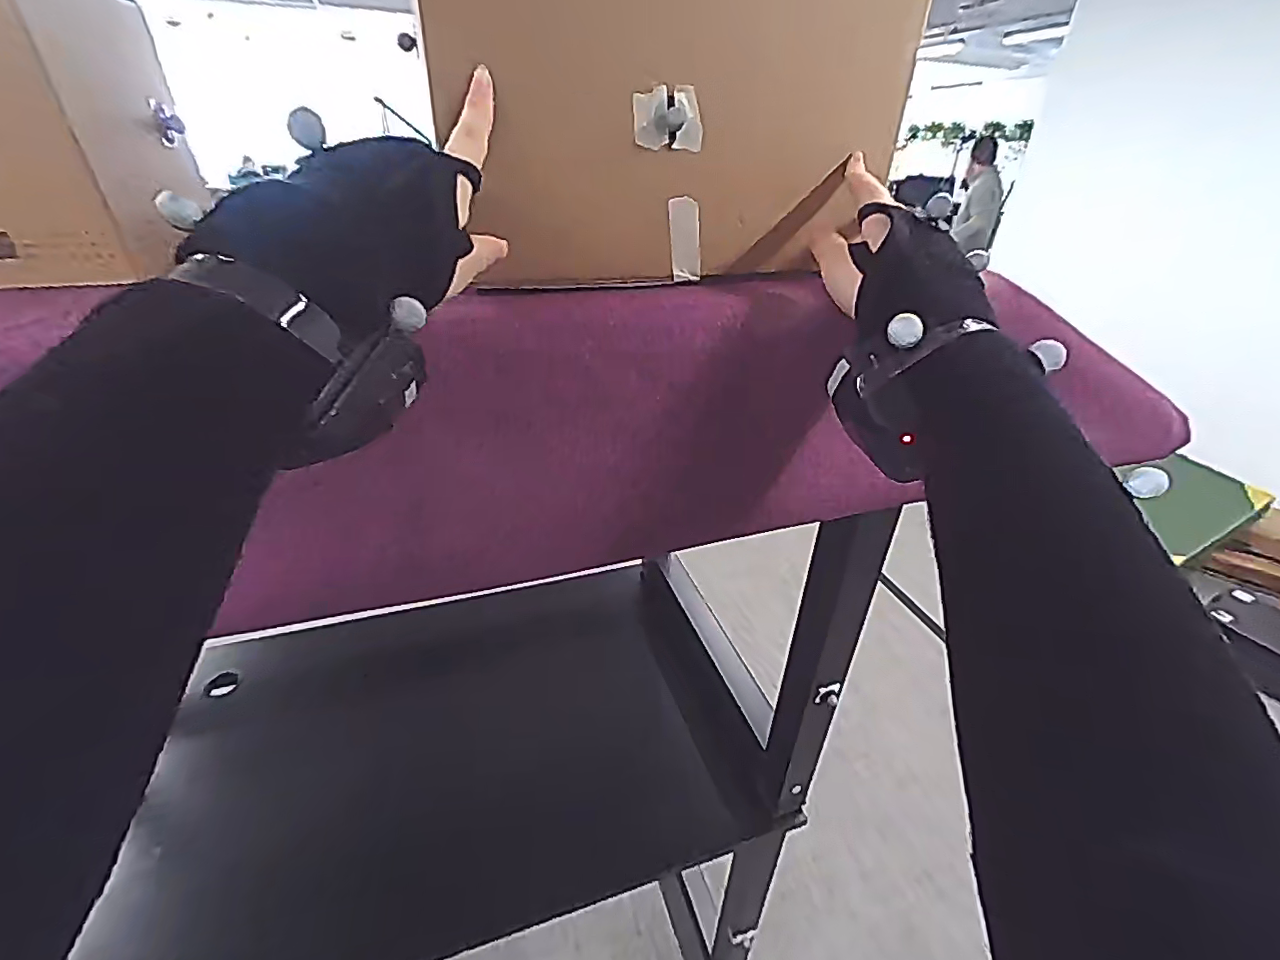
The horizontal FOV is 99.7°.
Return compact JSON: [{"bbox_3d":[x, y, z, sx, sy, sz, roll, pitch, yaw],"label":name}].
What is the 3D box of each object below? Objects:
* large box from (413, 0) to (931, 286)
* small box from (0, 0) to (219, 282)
[{"bbox_3d":[-0.021,-0.366,0.457,0.320,0.320,0.408,-8,32,-16],"label":"large box"},{"bbox_3d":[-0.415,-0.232,0.350,0.168,0.176,0.179,-8,33,-15],"label":"small box"}]
